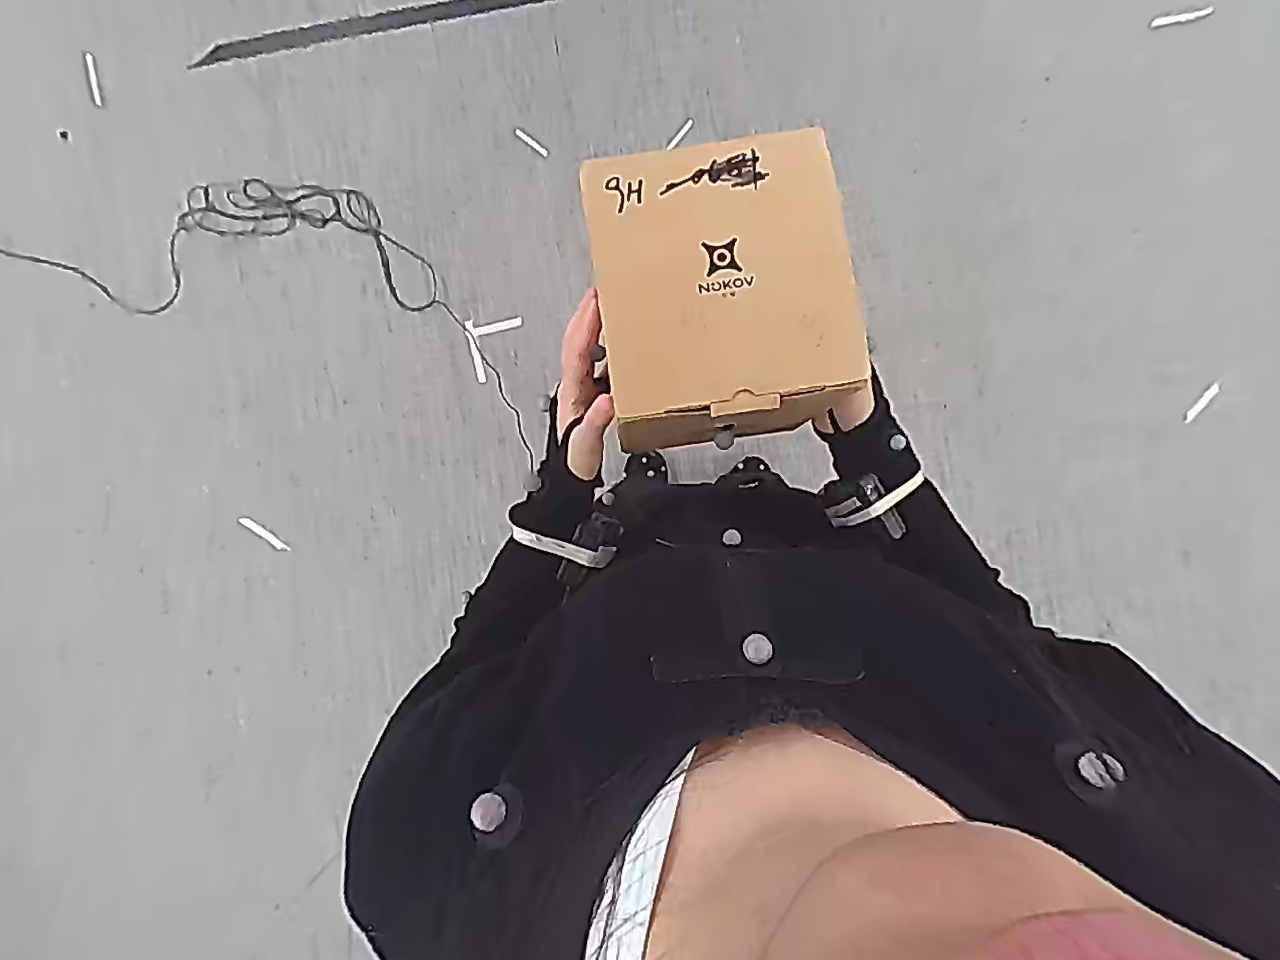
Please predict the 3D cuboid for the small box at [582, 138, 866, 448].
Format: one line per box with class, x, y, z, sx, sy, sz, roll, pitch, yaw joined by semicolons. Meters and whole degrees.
small box;0.053;-0.124;0.428;0.168;0.176;0.179;-8;86;-1
